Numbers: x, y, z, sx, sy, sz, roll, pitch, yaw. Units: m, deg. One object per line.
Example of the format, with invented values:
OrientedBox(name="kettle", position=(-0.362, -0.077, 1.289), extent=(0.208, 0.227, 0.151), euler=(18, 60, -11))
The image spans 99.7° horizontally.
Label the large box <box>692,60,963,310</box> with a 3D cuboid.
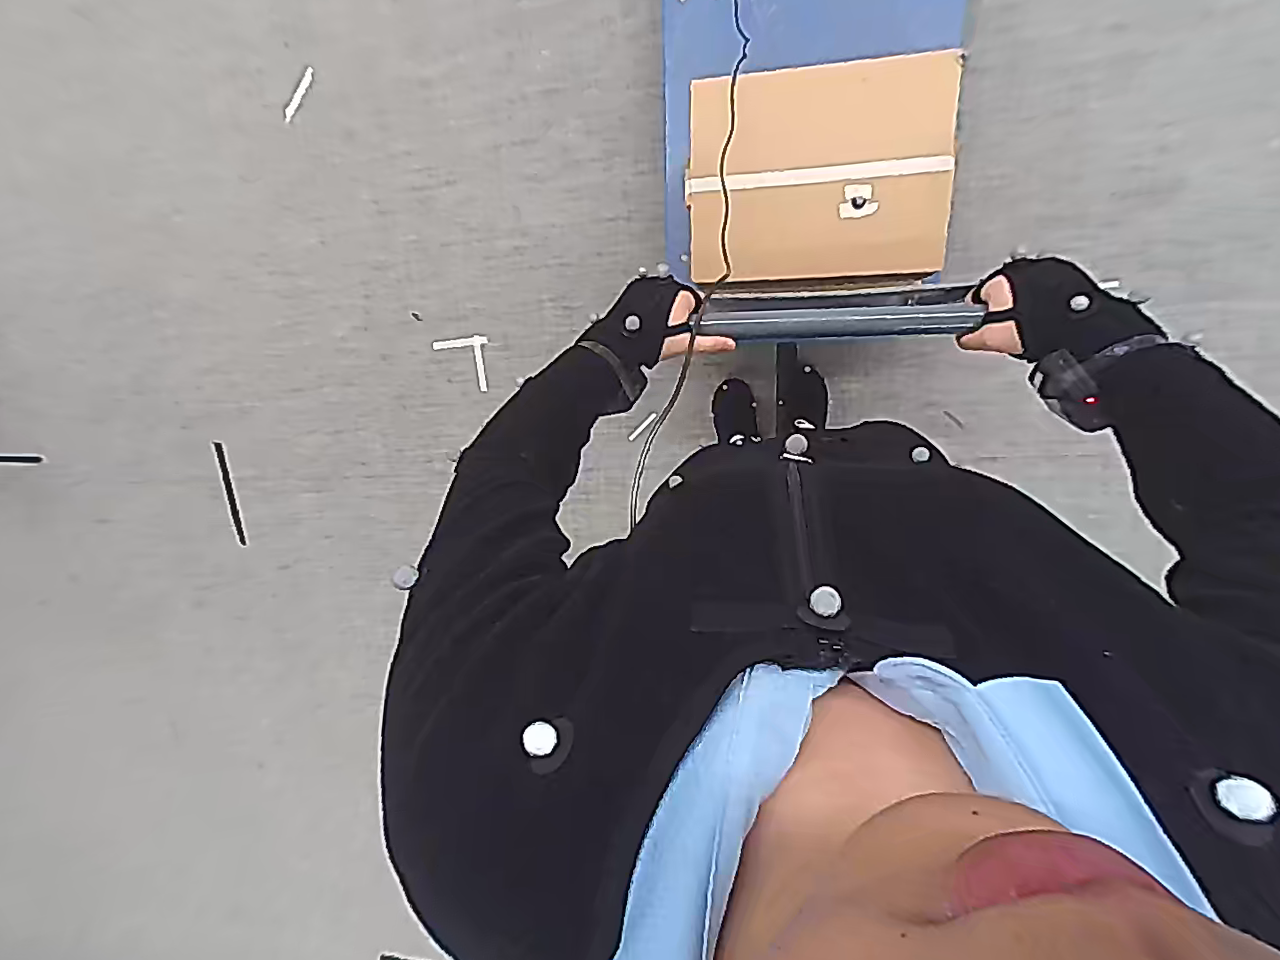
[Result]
OrientedBox(name="large box", position=(0.309, -0.499, 1.001), extent=(0.408, 0.320, 0.320), euler=(1, 103, 10))
